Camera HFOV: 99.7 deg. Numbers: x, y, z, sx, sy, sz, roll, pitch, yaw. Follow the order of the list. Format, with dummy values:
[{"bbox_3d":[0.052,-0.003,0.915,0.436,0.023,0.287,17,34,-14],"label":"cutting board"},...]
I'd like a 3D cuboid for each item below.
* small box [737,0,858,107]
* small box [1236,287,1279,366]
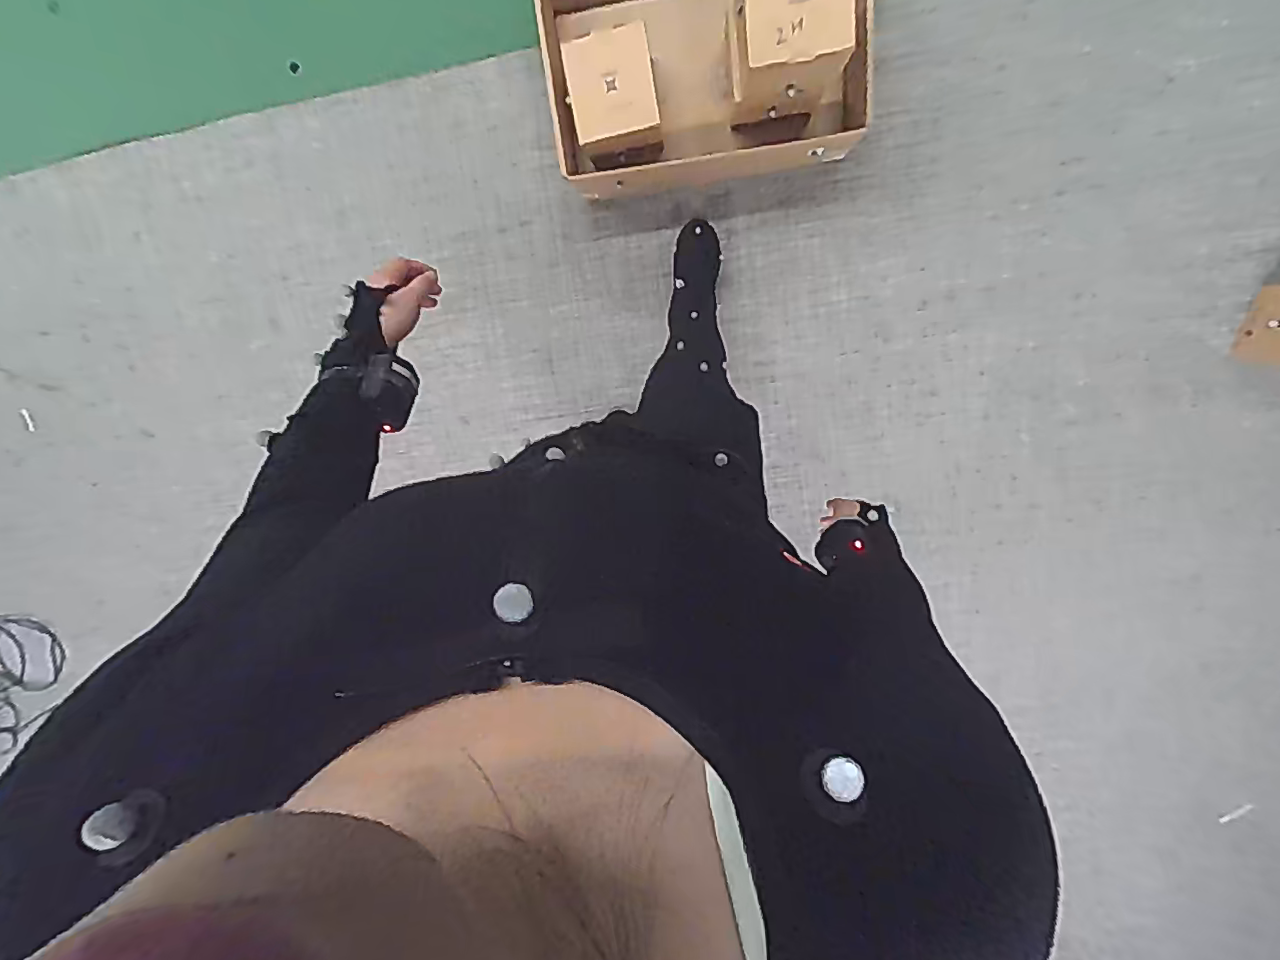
[{"bbox_3d":[0.253,-0.757,0.894,0.168,0.176,0.179,-5,108,8],"label":"small box"},{"bbox_3d":[1.453,-0.322,1.147,0.179,0.176,0.168,5,108,5],"label":"small box"}]
